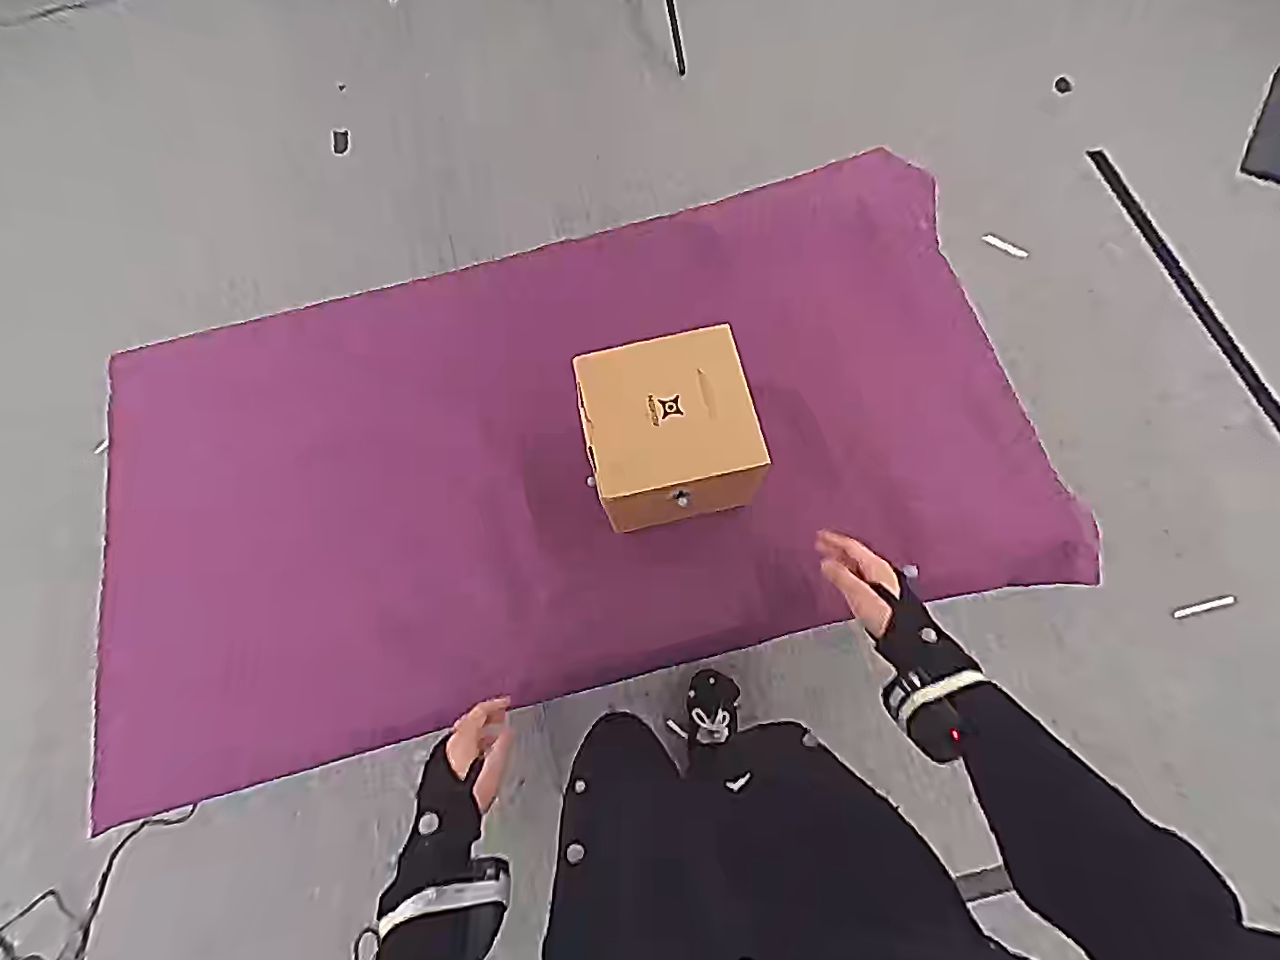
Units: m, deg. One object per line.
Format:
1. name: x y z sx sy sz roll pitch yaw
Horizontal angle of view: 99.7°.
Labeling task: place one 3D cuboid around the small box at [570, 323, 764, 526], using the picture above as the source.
1. small box: 0.030 -0.053 0.636 0.179 0.176 0.168 -13 73 -1
